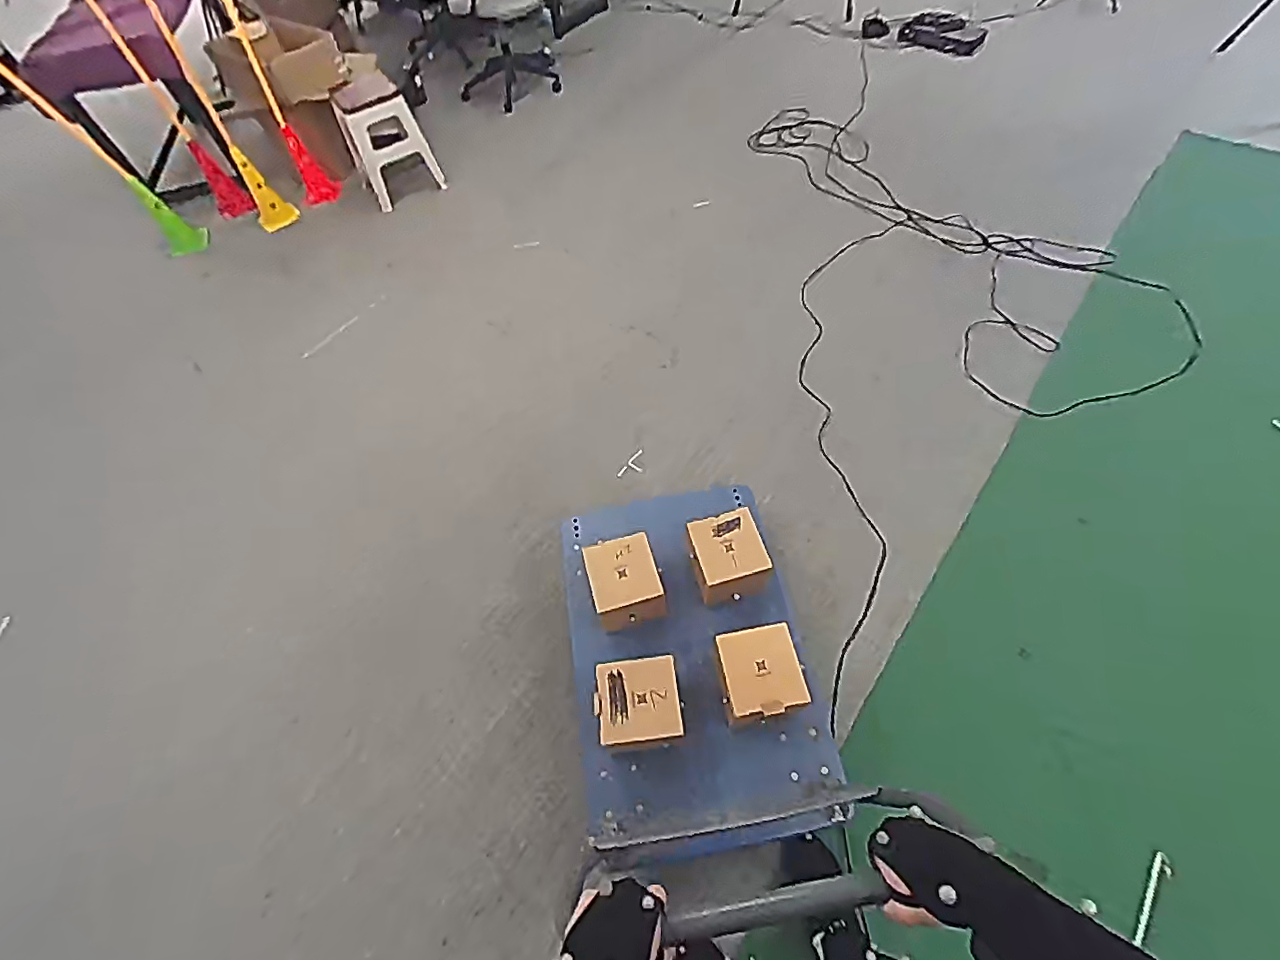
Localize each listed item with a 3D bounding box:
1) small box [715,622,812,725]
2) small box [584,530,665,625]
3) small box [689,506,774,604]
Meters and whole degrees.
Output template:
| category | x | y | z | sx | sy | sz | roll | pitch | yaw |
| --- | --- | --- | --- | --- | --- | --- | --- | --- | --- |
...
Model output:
| category | x | y | z | sx | sy | sz | roll | pitch | yaw |
| --- | --- | --- | --- | --- | --- | --- | --- | --- | --- |
| small box | 0.272 | 0.446 | 1.238 | 0.168 | 0.176 | 0.179 | -10 | 59 | -2 |
| small box | -0.035 | 0.257 | 1.376 | 0.168 | 0.176 | 0.179 | -14 | 58 | -5 |
| small box | 0.226 | 0.197 | 1.392 | 0.168 | 0.176 | 0.179 | -15 | 59 | -4 |
